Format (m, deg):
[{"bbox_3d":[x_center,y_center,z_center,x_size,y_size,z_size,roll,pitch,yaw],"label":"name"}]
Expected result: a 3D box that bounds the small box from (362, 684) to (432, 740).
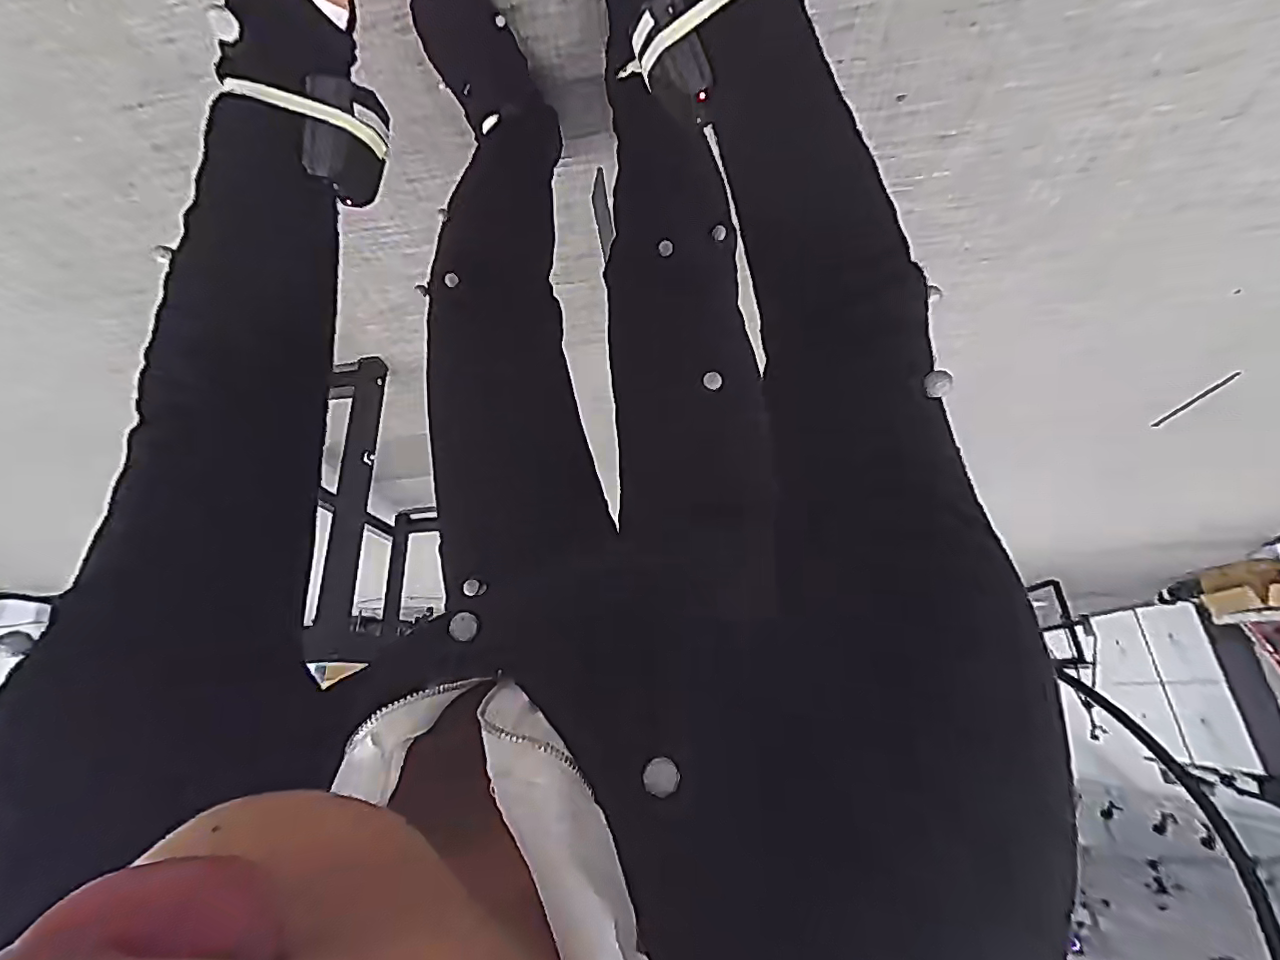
[{"bbox_3d":[-0.846,0.812,1.903,0.179,0.176,0.168,-4,156,2],"label":"small box"}]
